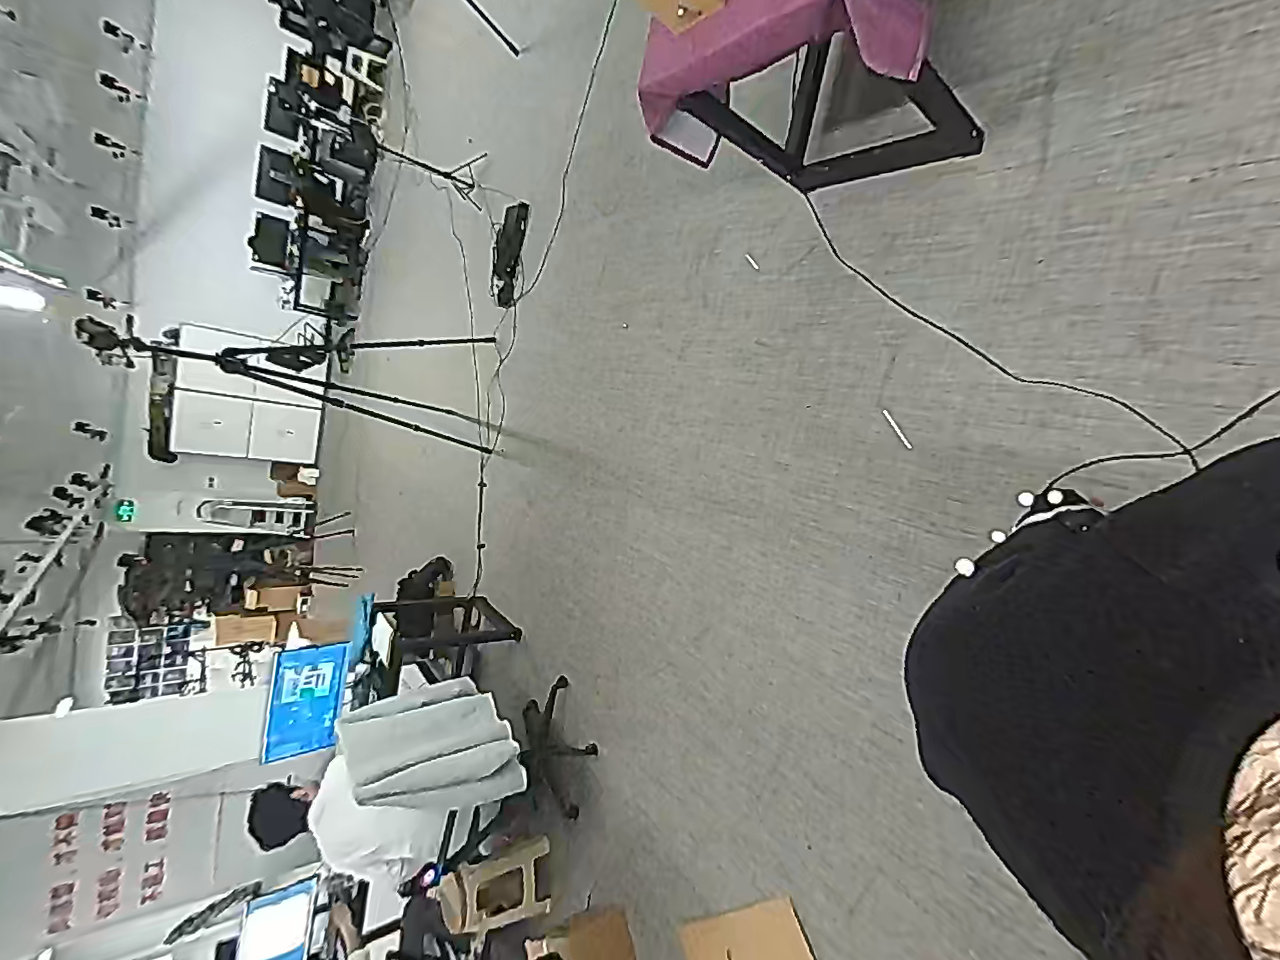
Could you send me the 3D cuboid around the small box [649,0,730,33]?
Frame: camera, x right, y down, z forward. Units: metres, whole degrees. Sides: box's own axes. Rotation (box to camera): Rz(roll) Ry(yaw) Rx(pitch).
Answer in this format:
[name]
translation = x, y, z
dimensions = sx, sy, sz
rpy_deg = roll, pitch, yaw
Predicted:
[small box]
translation = 0.111, -1.168, 1.211
dimensions = 0.168, 0.176, 0.179
rpy_deg = 23, 103, 50
